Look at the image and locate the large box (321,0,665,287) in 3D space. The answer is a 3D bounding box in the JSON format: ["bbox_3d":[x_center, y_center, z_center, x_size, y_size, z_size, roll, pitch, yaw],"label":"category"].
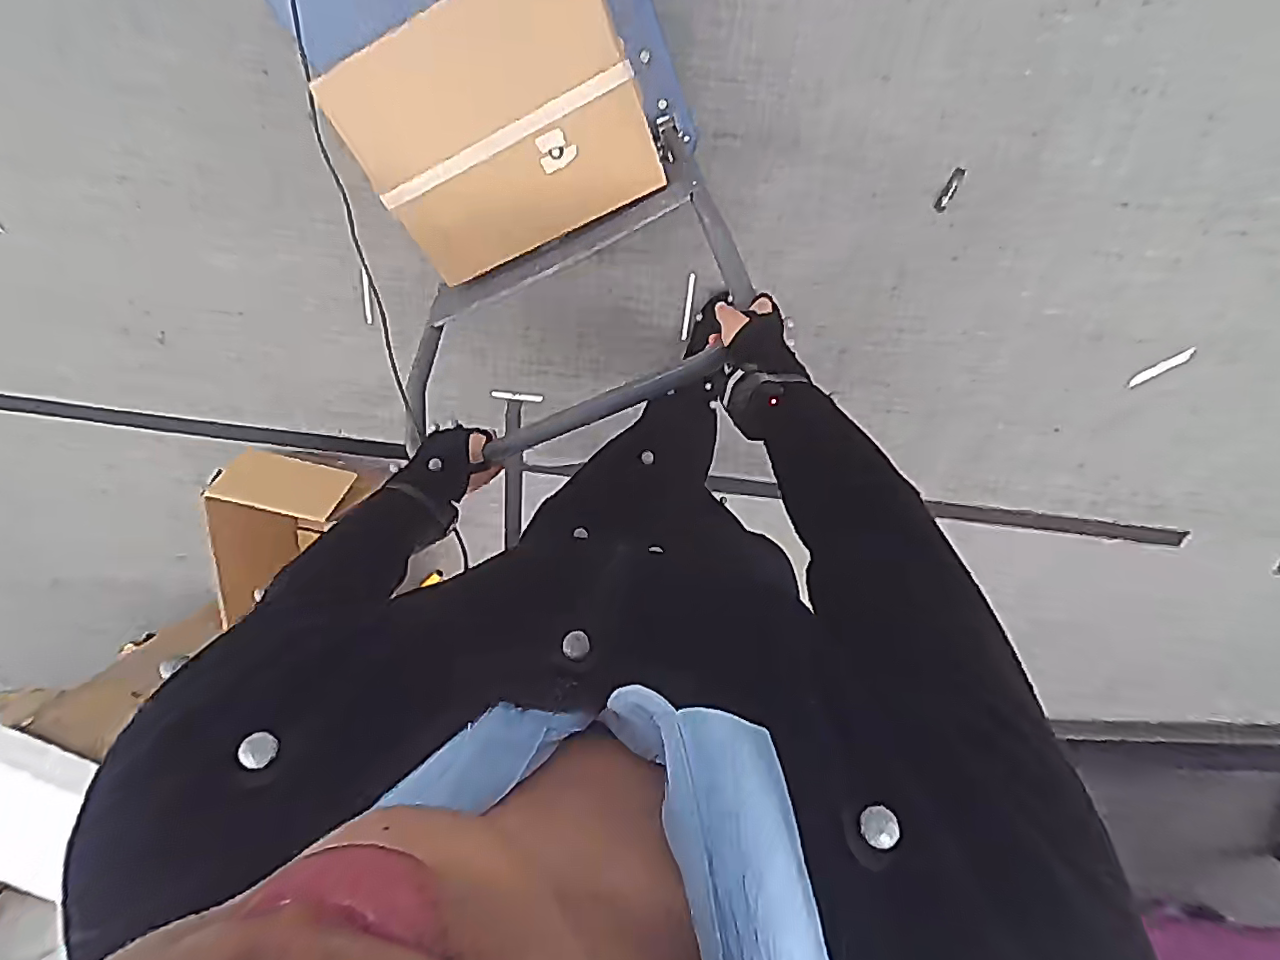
[{"bbox_3d":[-0.213,-0.597,0.897,0.408,0.320,0.320,-21,132,13],"label":"large box"}]
